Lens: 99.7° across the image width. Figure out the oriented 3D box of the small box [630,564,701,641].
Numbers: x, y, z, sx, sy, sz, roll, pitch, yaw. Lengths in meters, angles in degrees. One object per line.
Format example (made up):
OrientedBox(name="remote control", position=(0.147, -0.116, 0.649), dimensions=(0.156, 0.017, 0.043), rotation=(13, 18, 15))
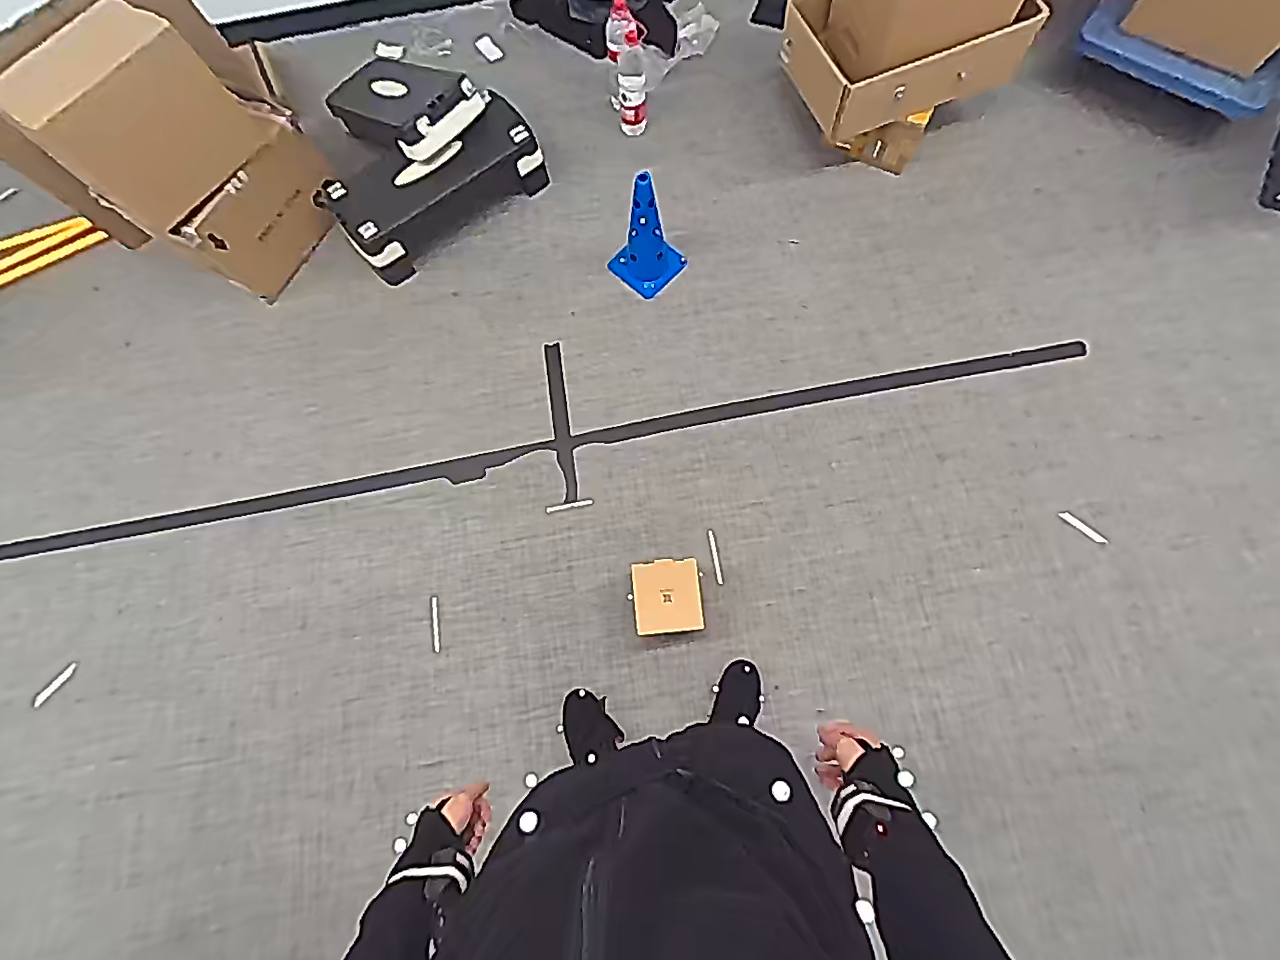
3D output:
OrientedBox(name="small box", position=(0.066, 0.322, 1.413), dimensions=(0.168, 0.176, 0.179), rotation=(-6, 73, 1))
